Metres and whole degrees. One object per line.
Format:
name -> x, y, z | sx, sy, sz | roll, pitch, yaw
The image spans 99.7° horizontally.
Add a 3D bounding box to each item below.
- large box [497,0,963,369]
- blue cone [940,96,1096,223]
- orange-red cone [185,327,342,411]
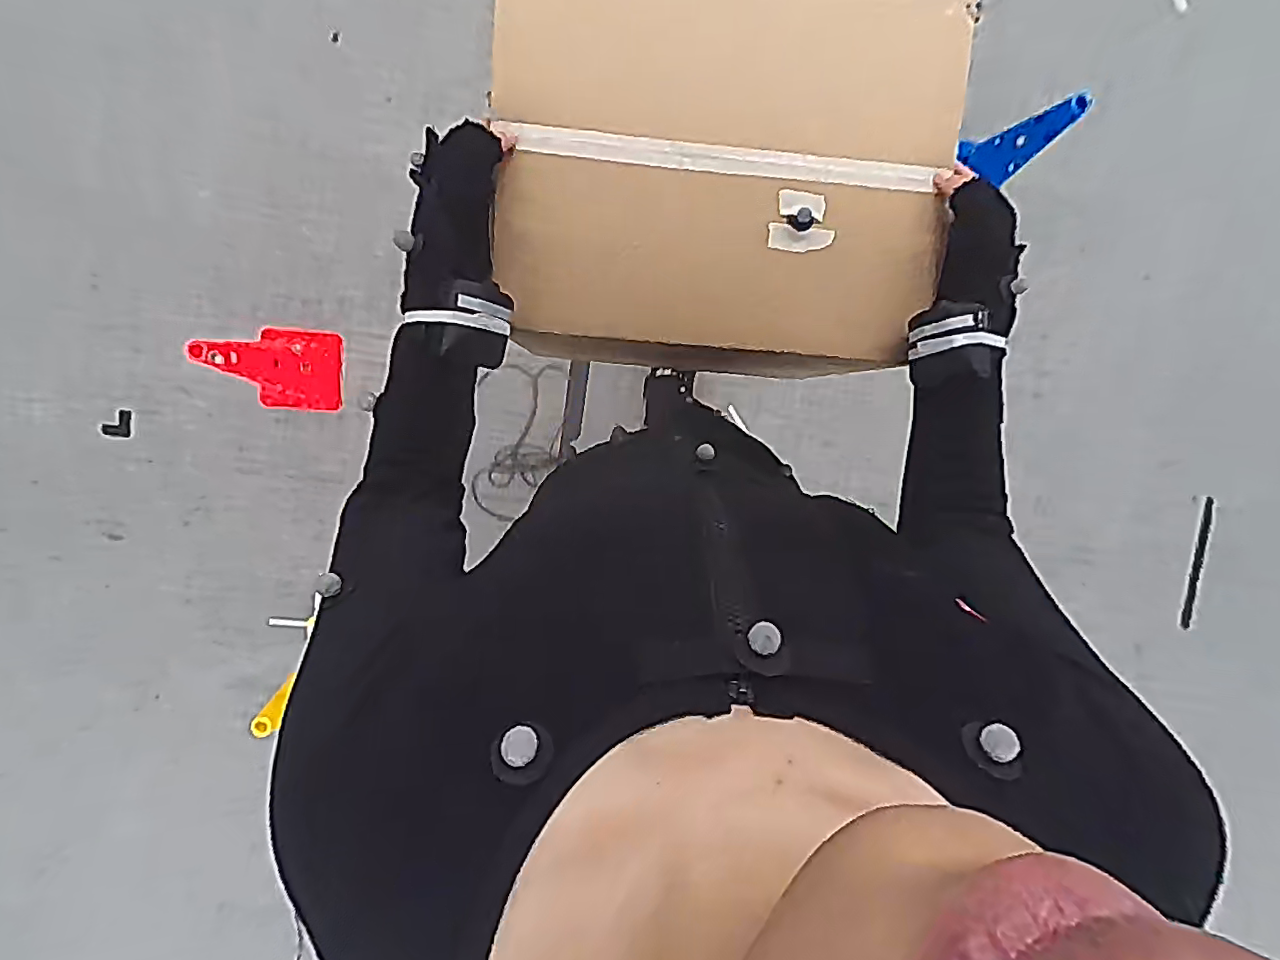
large box -> 0.065, -0.305, 0.620 | 0.408, 0.320, 0.320 | 3, 98, -5
blue cone -> 0.868, -0.768, 1.260 | 0.192, 0.380, 0.193 | 10, 95, -5
orange-red cone -> -0.846, -0.258, 1.194 | 0.198, 0.360, 0.199 | 5, 97, -3
